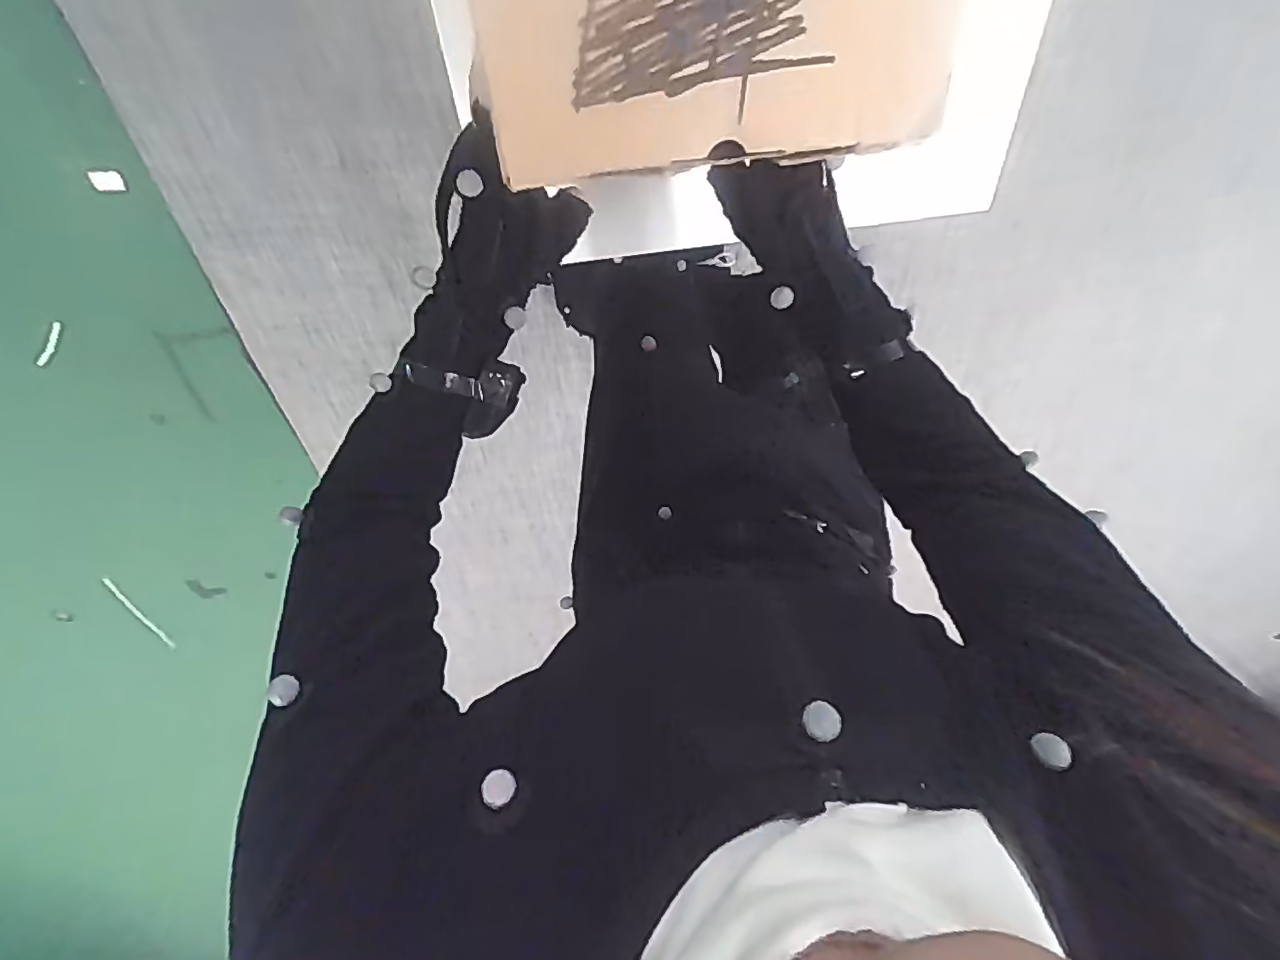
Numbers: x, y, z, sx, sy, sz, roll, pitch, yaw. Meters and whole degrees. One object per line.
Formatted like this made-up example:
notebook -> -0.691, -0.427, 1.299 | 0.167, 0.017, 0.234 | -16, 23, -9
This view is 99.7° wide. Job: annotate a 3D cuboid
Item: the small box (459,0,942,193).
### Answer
small box -> 0.011, -0.236, 0.221 | 0.168, 0.176, 0.179 | -8, 127, -4
